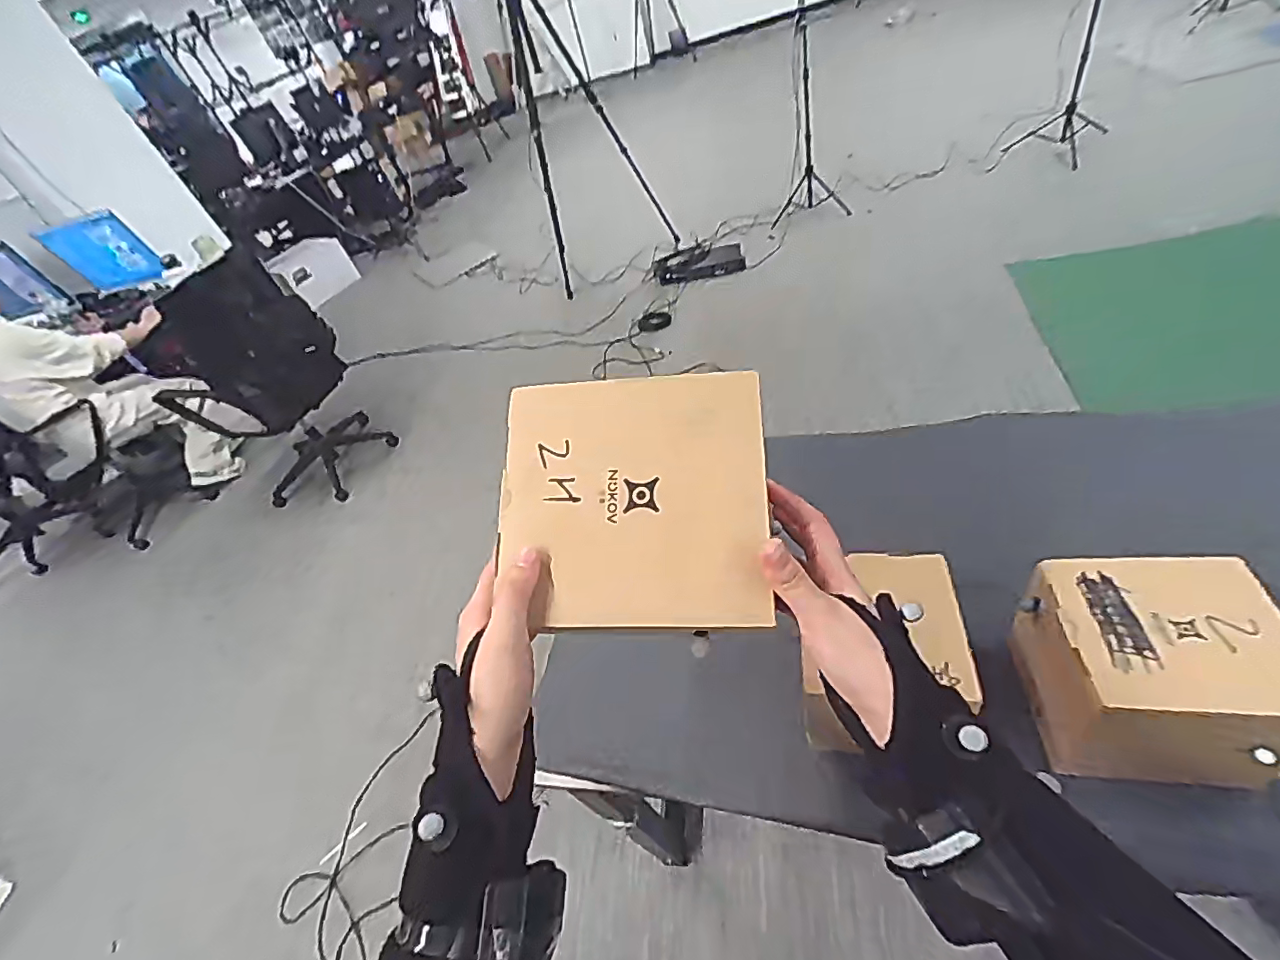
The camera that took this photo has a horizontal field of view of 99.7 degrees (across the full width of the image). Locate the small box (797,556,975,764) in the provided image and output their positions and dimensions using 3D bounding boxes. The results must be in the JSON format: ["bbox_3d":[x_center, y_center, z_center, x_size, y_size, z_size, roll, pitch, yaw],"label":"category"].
[{"bbox_3d":[0.277,0.210,0.645,0.168,0.176,0.179,-4,44,19],"label":"small box"}]

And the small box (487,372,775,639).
[{"bbox_3d":[0.006,0.033,0.416,0.179,0.176,0.168,-3,72,11],"label":"small box"}]
